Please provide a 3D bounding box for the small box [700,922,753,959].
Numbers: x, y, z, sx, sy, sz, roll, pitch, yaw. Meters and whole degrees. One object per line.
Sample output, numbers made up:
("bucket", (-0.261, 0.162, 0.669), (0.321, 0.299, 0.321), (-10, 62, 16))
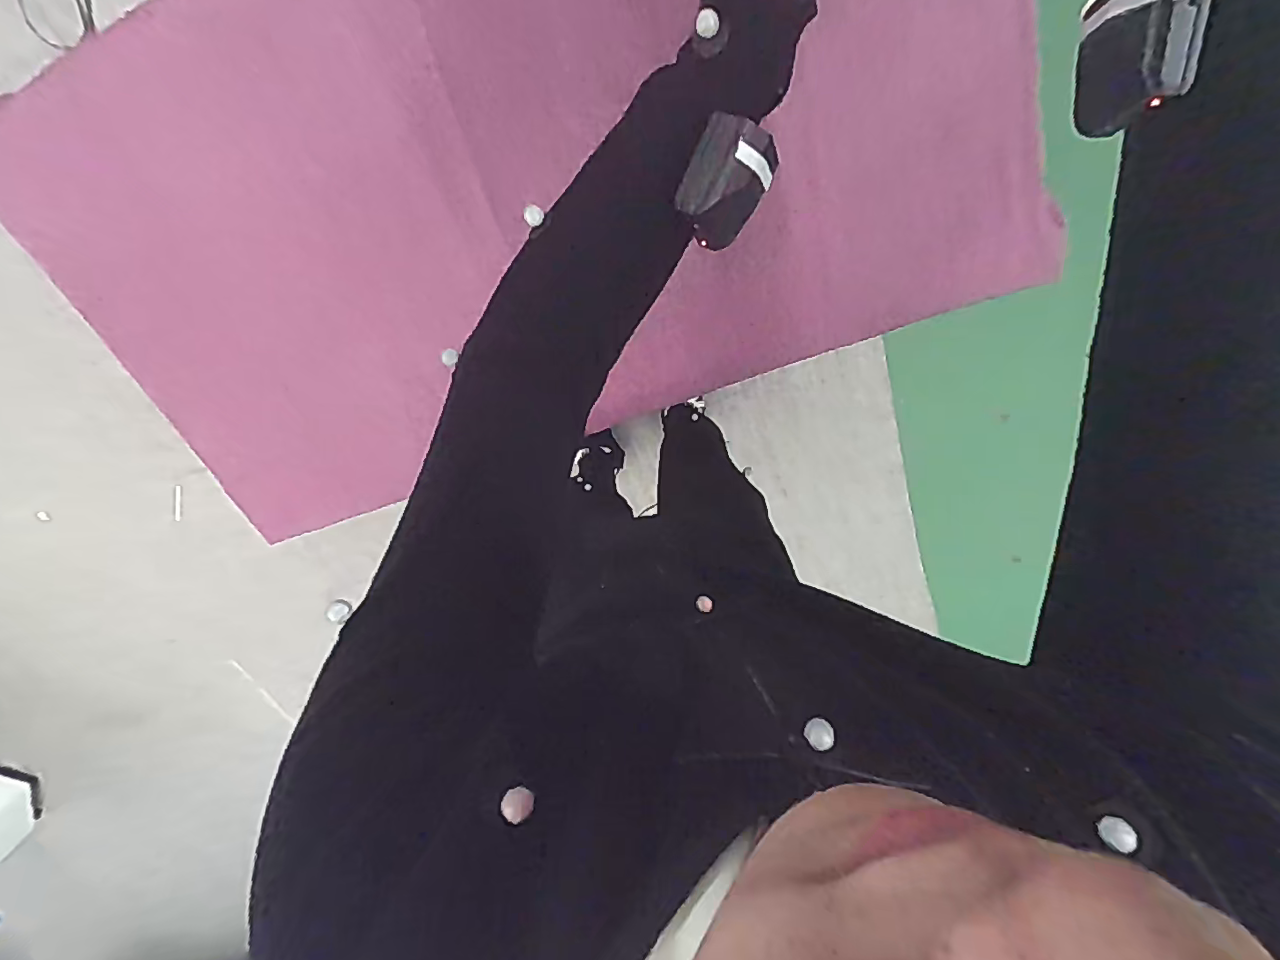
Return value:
("small box", (0.315, 1.720, 1.928), (0.168, 0.176, 0.179), (-13, 116, 8))
